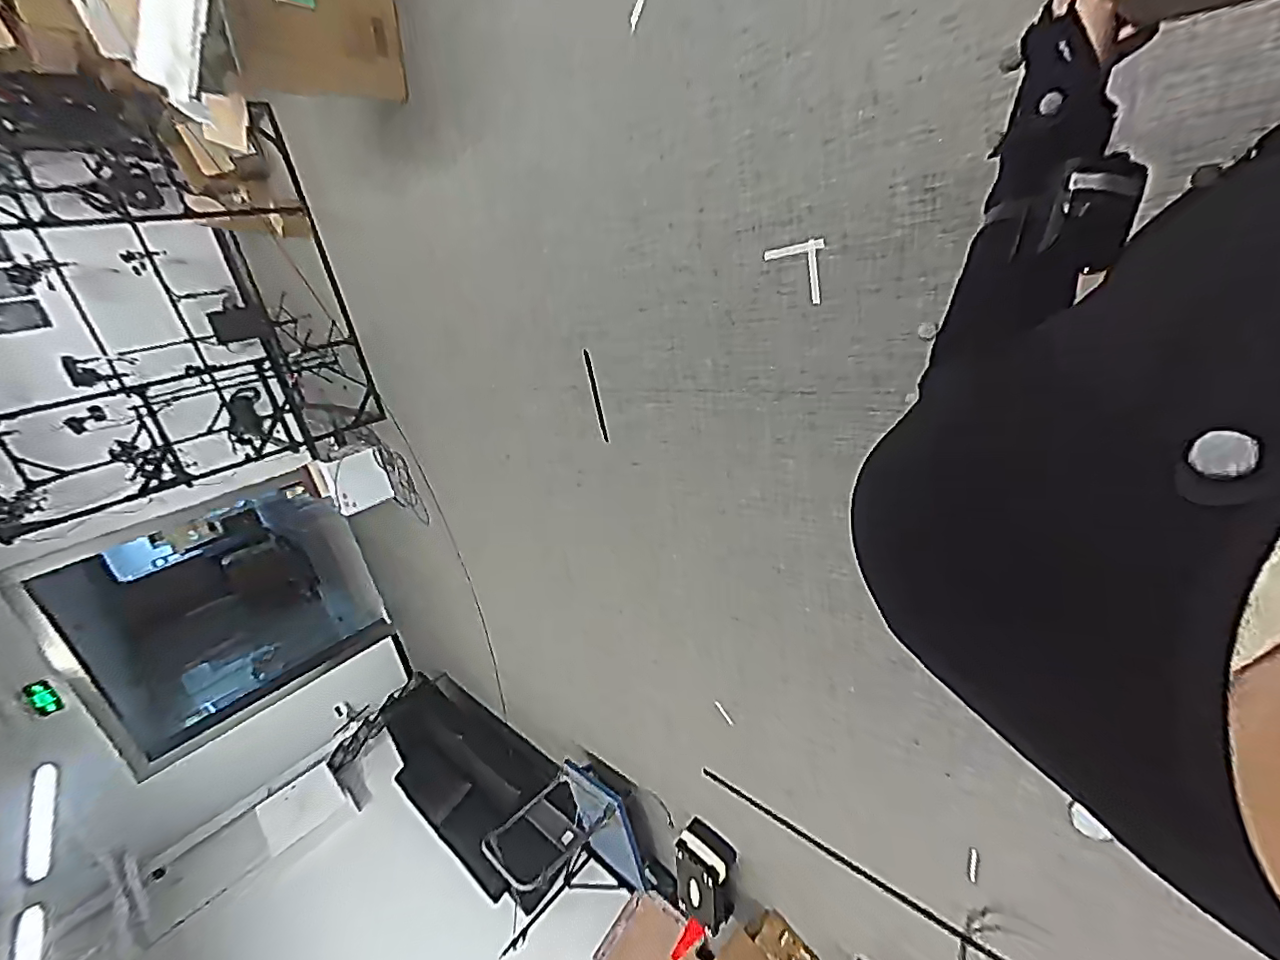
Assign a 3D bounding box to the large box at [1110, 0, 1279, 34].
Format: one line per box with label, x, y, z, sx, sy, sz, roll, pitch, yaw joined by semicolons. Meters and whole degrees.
large box;0.397;-0.367;0.123;0.408;0.320;0.320;13;127;38
